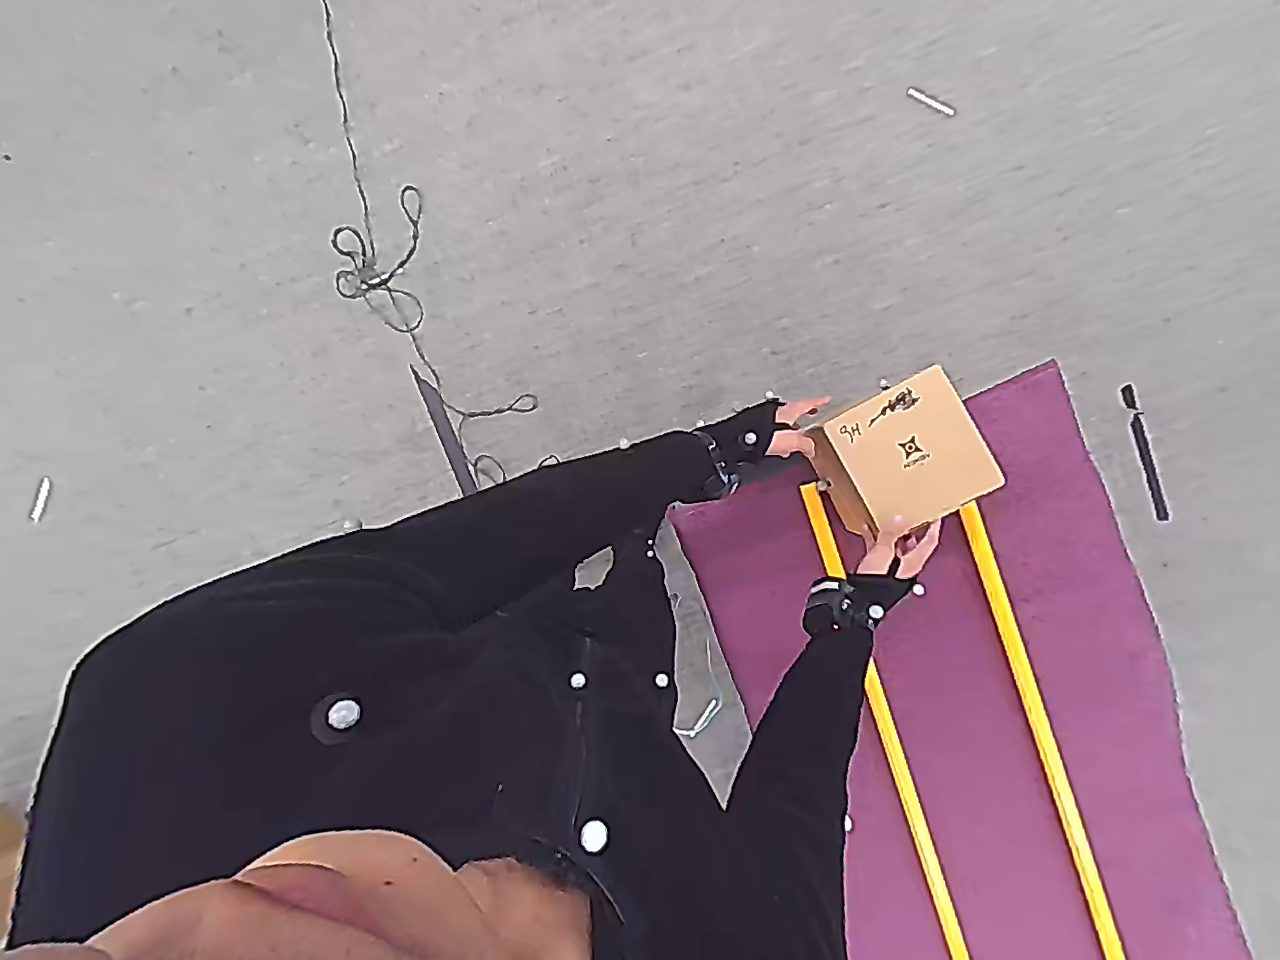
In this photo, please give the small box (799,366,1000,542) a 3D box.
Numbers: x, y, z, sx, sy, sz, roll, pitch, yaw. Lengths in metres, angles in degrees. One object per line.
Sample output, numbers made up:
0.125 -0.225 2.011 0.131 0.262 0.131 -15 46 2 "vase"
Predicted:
0.349 -0.036 0.763 0.168 0.176 0.179 -28 89 5 "small box"
